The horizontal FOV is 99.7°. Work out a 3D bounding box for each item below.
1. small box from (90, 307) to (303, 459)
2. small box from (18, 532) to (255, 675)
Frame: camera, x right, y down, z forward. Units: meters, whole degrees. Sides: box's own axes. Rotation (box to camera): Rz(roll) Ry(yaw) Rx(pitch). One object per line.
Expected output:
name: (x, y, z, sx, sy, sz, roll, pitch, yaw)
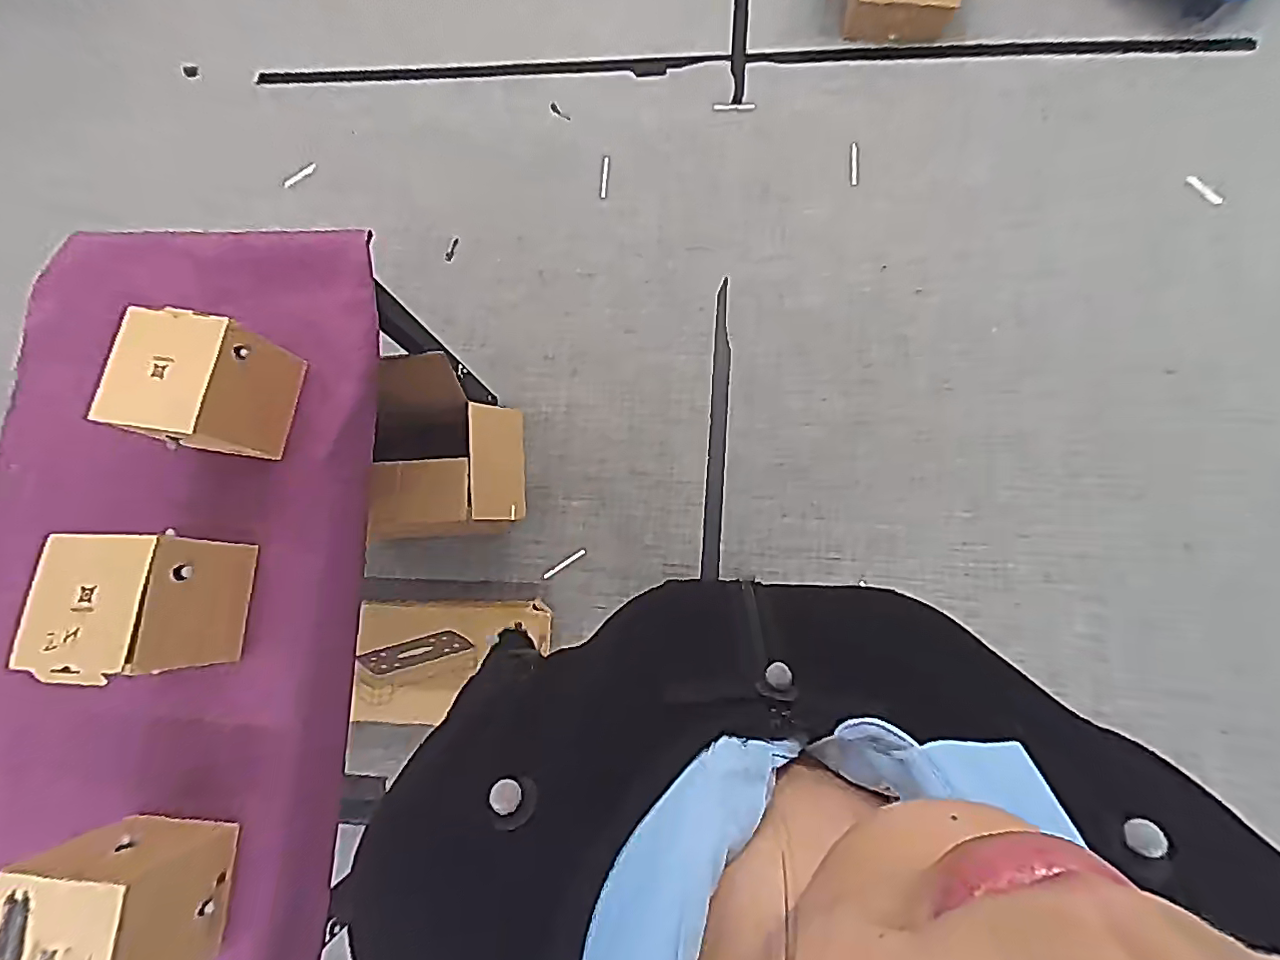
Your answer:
small box: (-0.661, -0.139, 0.830, 0.168, 0.176, 0.179, 8, 79, 7)
small box: (-0.694, 0.172, 0.769, 0.168, 0.176, 0.179, 0, 79, 8)
